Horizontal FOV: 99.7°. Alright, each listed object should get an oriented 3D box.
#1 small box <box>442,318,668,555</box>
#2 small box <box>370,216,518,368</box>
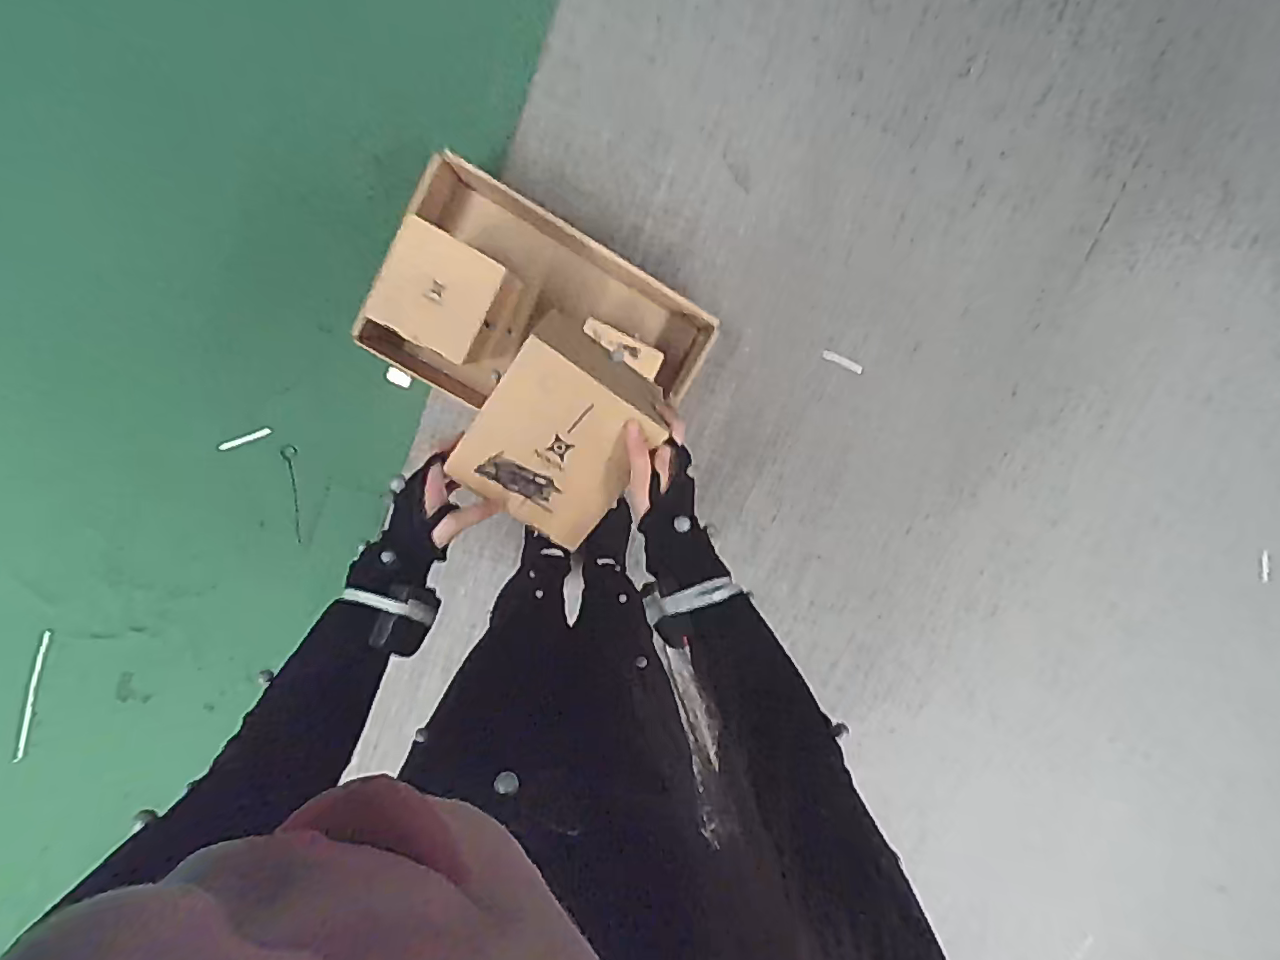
[{"bbox_3d":[-0.087,-0.057,0.611,0.168,0.176,0.179,34,109,-17],"label":"small box"},{"bbox_3d":[-0.324,-0.313,0.931,0.168,0.176,0.179,28,100,-11],"label":"small box"}]
